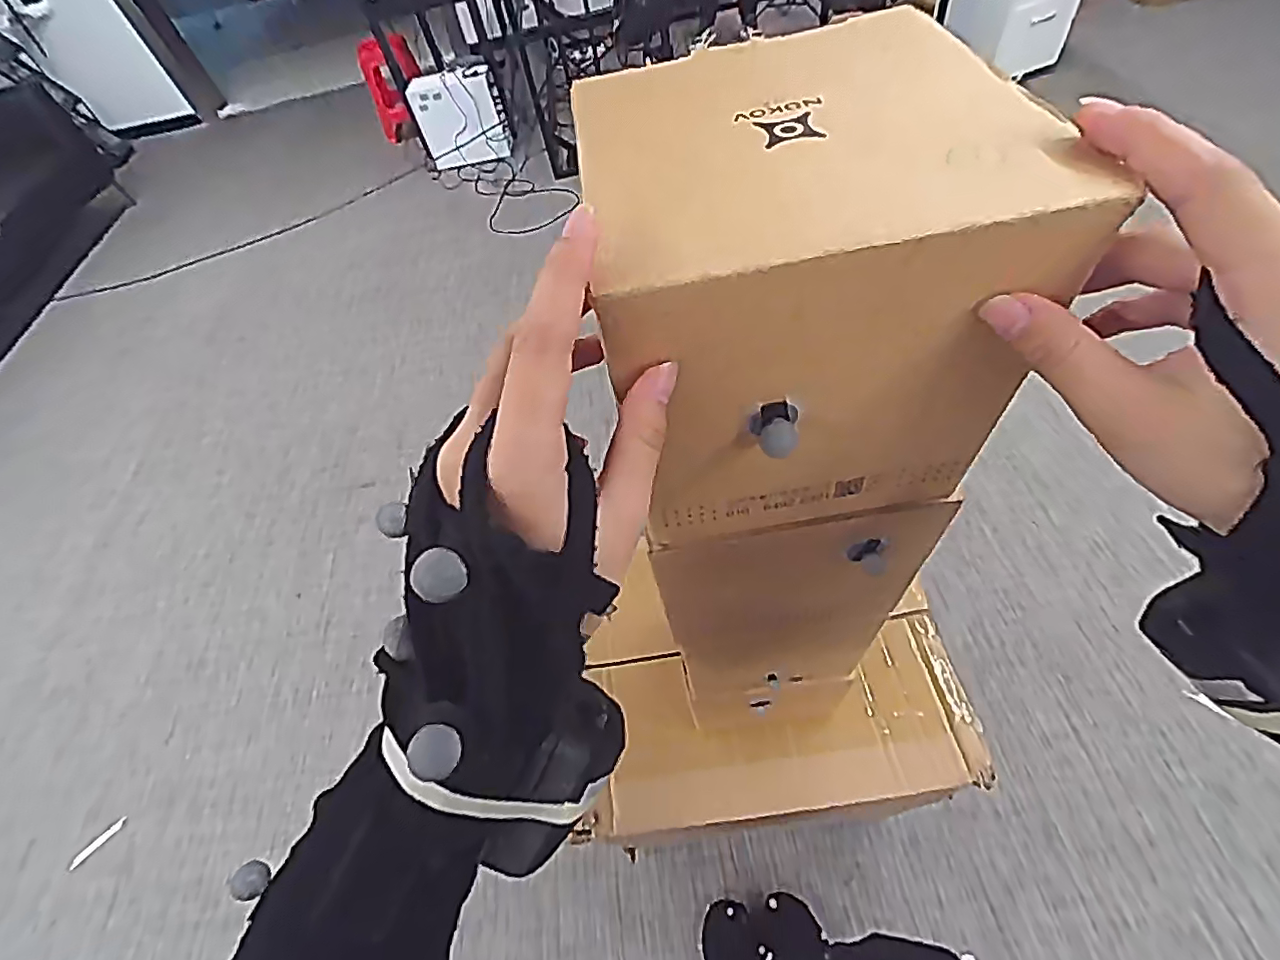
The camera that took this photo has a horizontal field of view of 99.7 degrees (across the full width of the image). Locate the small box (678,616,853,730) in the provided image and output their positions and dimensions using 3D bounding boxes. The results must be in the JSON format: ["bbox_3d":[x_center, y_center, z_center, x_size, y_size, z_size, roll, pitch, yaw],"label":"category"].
[{"bbox_3d":[0.139,0.198,0.667,0.179,0.176,0.168,-10,54,3],"label":"small box"}]

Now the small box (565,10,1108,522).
[{"bbox_3d":[0.065,-0.093,0.278,0.168,0.176,0.179,-10,54,3],"label":"small box"}]

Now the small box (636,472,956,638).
[{"bbox_3d":[0.090,0.004,0.406,0.179,0.176,0.168,-10,54,3],"label":"small box"}]
